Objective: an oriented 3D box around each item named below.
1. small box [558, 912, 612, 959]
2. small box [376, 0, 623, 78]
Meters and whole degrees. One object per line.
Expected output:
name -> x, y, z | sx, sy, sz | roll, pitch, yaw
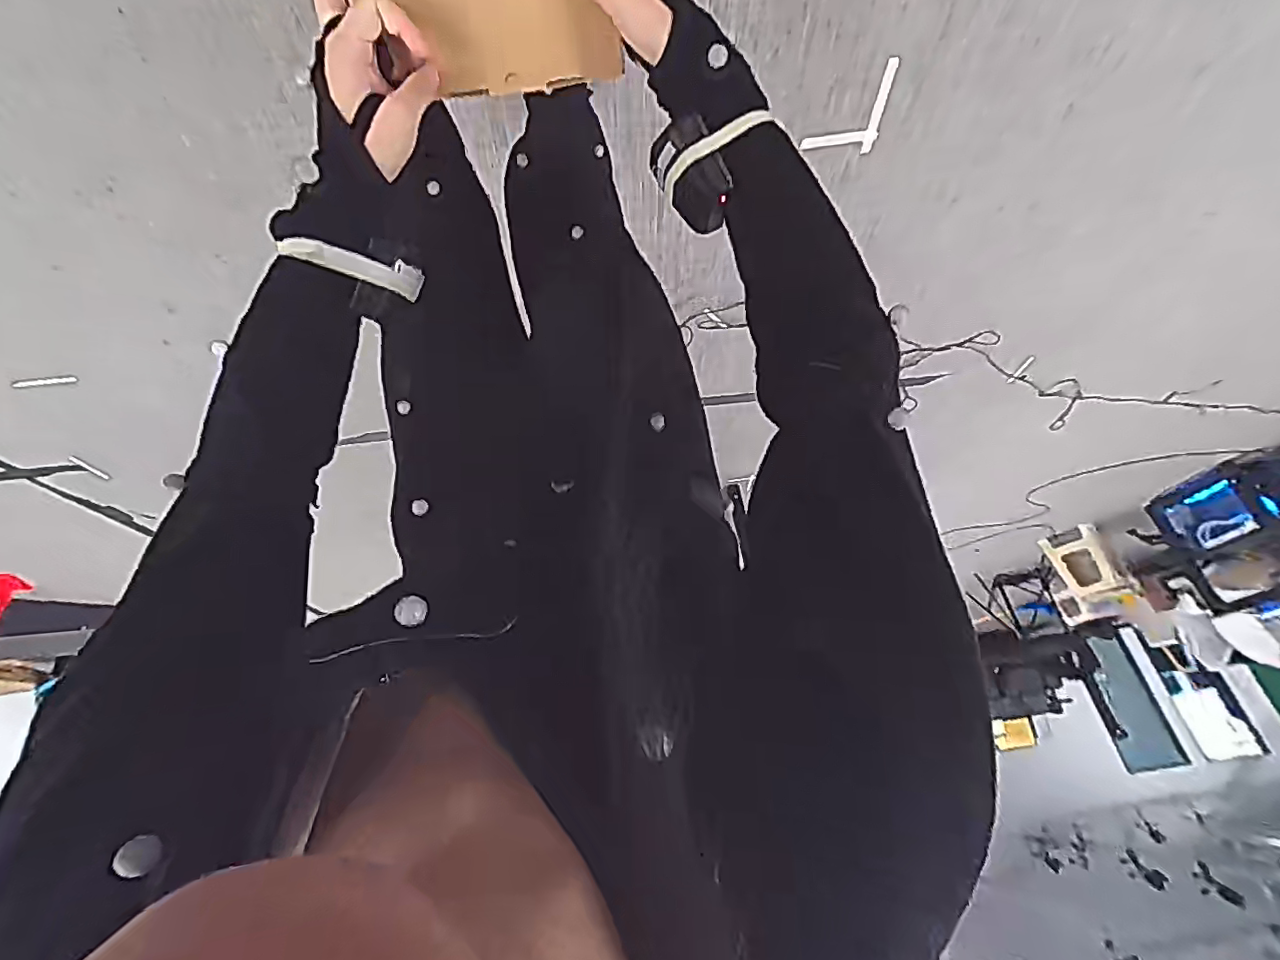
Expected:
small box -> -0.175, 1.531, 1.745 | 0.168, 0.176, 0.179 | -5, 153, -8
small box -> -0.107, -0.419, 0.371 | 0.168, 0.176, 0.179 | -7, 147, 0
